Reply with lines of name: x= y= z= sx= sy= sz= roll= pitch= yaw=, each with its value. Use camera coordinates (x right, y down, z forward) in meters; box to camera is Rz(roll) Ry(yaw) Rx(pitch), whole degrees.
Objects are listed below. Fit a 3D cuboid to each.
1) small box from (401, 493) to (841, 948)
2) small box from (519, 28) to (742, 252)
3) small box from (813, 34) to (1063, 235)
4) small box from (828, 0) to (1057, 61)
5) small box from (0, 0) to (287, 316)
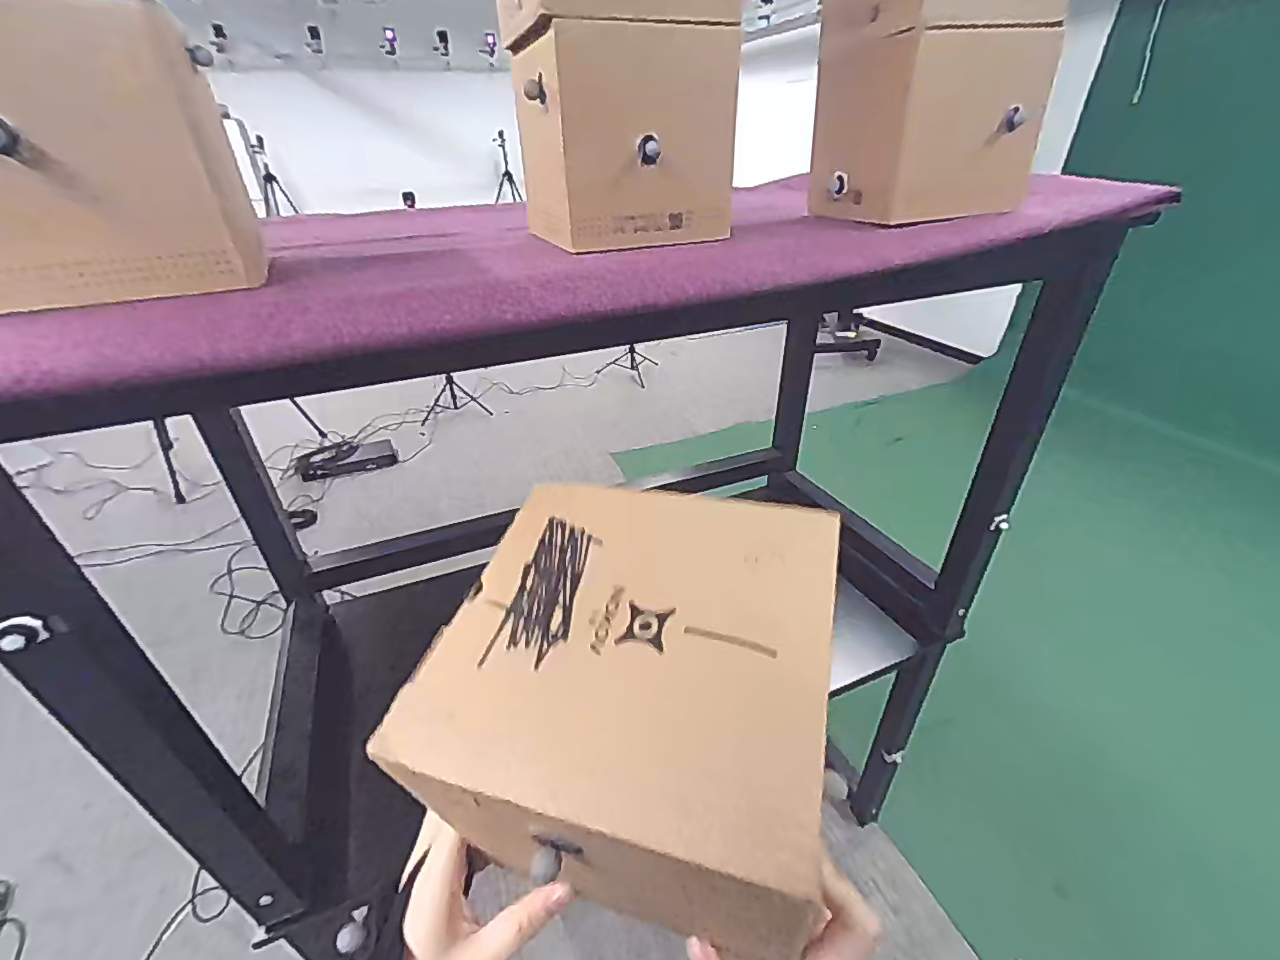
small box: x=0.011 y=0.130 z=0.311 sx=0.179 sy=0.176 sz=0.168 roll=7 pitch=44 yaw=18
small box: x=-0.015 y=-0.331 z=0.545 sx=0.168 sy=0.176 sz=0.179 roll=-13 pitch=33 yaw=-19
small box: x=0.321 y=-0.390 z=0.624 sx=0.179 sy=0.176 sz=0.168 roll=-13 pitch=31 yaw=-13
small box: x=0.308 y=-0.532 z=0.546 sx=0.179 sy=0.176 sz=0.168 roll=-10 pitch=31 yaw=-11
small box: x=-0.389 y=-0.227 z=0.393 sx=0.179 sy=0.176 sz=0.168 roll=-17 pitch=37 yaw=-23
